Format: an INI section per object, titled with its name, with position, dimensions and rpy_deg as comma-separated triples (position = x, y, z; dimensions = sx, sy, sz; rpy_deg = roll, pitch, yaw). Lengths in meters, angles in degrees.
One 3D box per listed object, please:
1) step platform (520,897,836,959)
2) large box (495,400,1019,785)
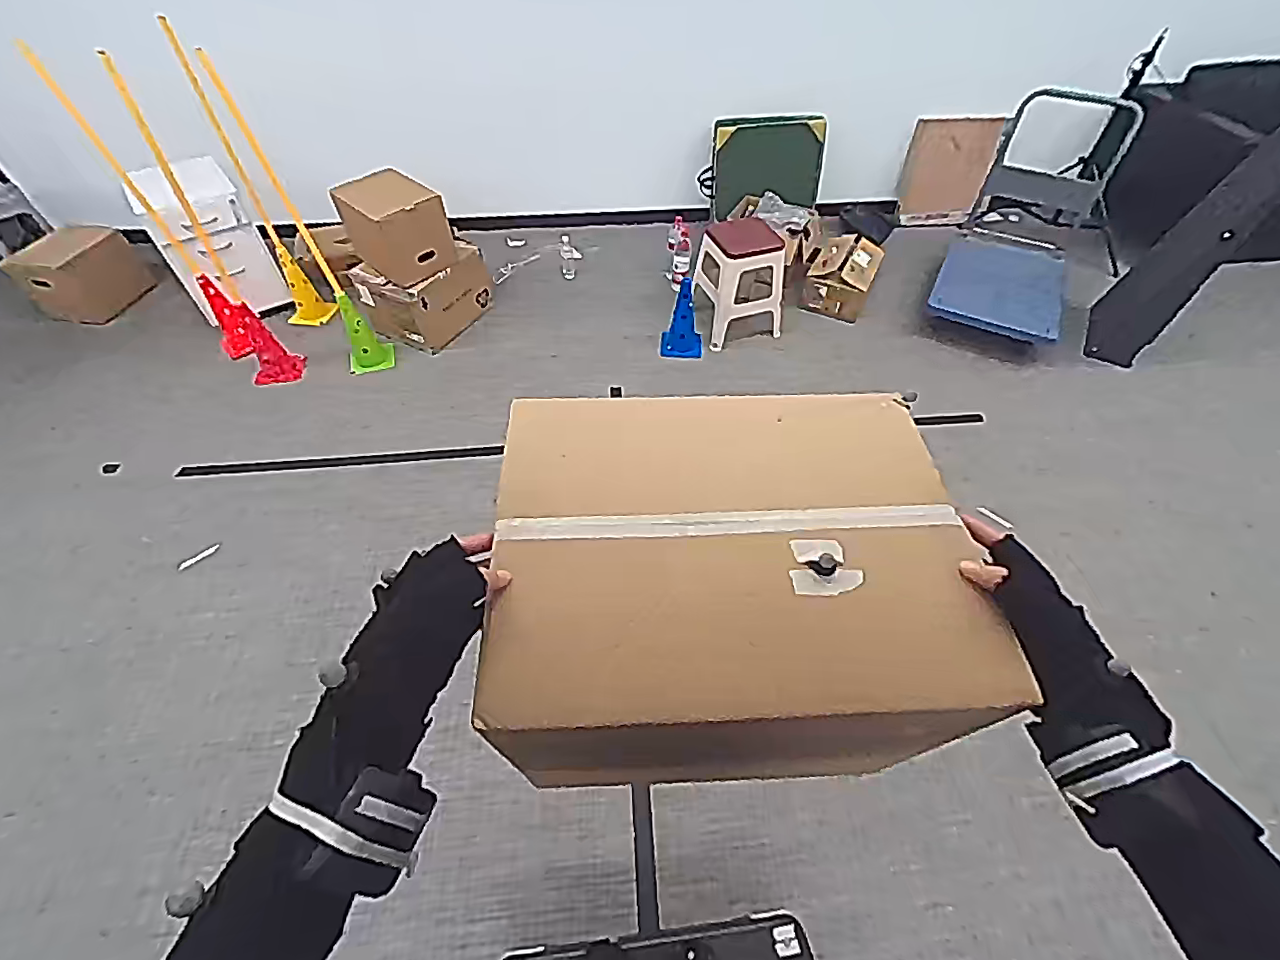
[step platform]
position = 0.082, 1.099, 1.128
dimensions = 0.684, 0.204, 0.286
rpy_deg = -5, 51, -5
[large box]
position = 0.076, 0.132, 0.602
dimensions = 0.408, 0.320, 0.320
rpy_deg = -2, 55, -3
